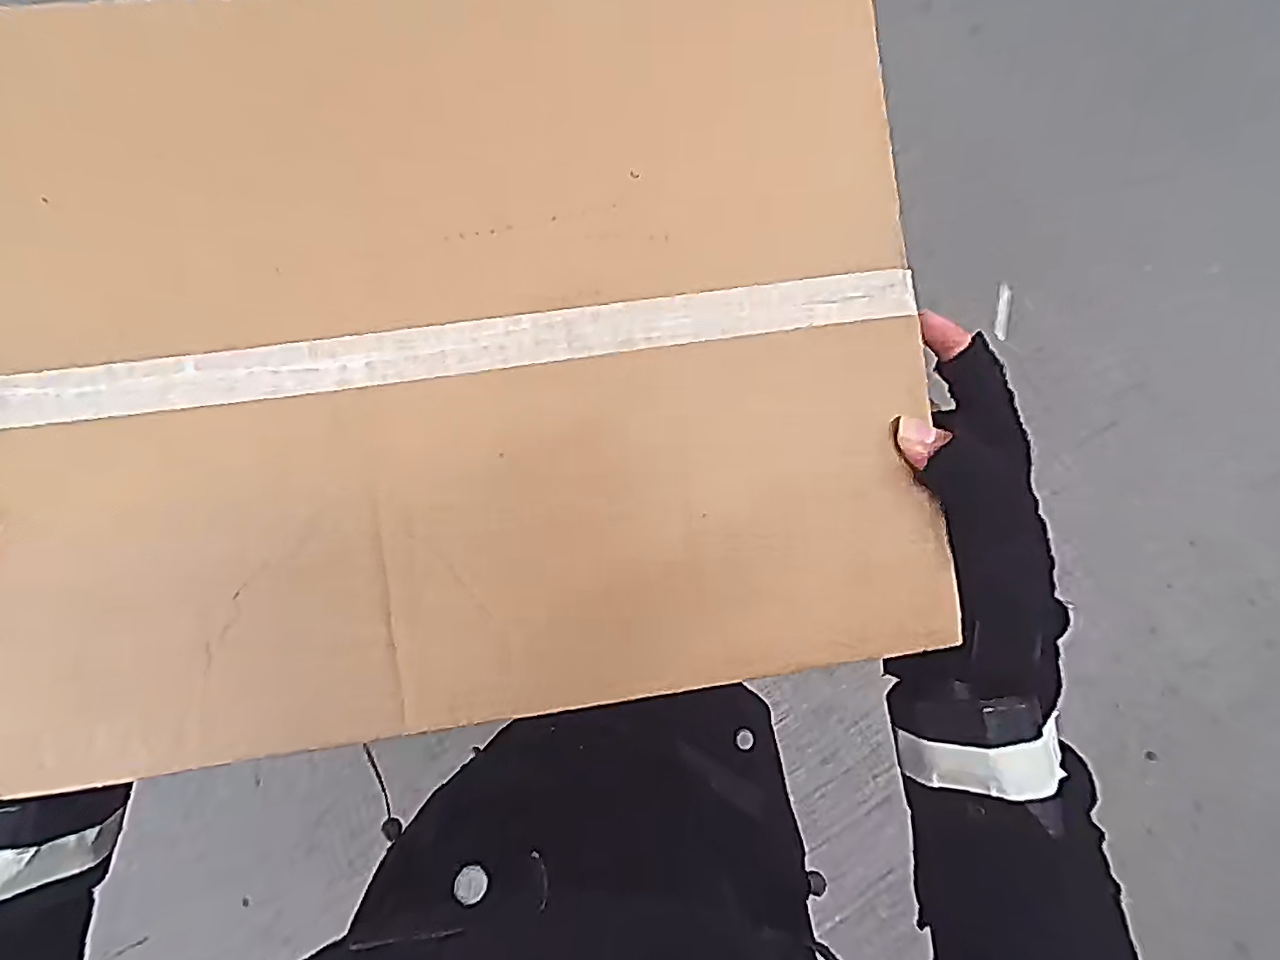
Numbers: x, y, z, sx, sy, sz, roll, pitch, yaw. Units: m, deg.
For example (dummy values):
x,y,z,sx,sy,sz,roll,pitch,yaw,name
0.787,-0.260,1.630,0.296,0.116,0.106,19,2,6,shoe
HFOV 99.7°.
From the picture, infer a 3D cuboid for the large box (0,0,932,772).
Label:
x,y,z,sx,sy,sz,roll,pitch,yaw,name
-0.085,-0.053,0.389,0.408,0.320,0.320,-7,89,-4,large box
